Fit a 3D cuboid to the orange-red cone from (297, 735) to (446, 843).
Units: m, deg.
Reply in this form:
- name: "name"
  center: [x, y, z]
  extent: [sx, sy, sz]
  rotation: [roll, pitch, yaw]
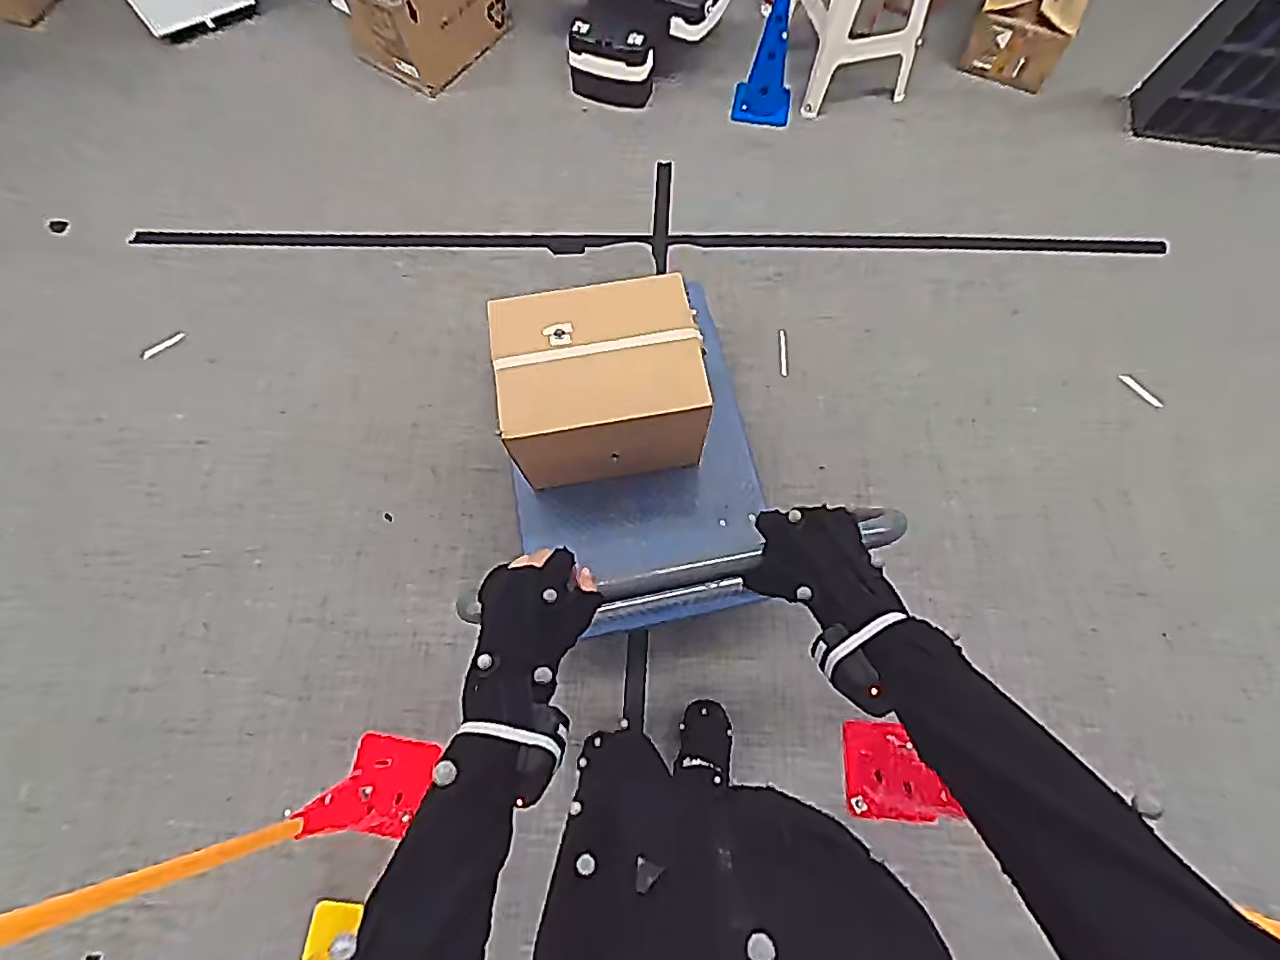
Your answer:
- name: "orange-red cone"
  center: [-0.562, 0.643, 1.078]
  extent: [0.198, 0.360, 0.199]
  rotation: [9, 69, 4]

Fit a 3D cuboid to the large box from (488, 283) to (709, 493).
- name: "large box"
  center: [-0.084, -0.186, 1.210]
  extent: [0.408, 0.320, 0.320]
  rotation: [-10, 71, -2]

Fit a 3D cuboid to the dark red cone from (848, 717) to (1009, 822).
- name: "dark red cone"
  center: [0.570, 0.584, 1.045]
  extent: [0.201, 0.394, 0.202]
  rotation: [2, 70, 0]
